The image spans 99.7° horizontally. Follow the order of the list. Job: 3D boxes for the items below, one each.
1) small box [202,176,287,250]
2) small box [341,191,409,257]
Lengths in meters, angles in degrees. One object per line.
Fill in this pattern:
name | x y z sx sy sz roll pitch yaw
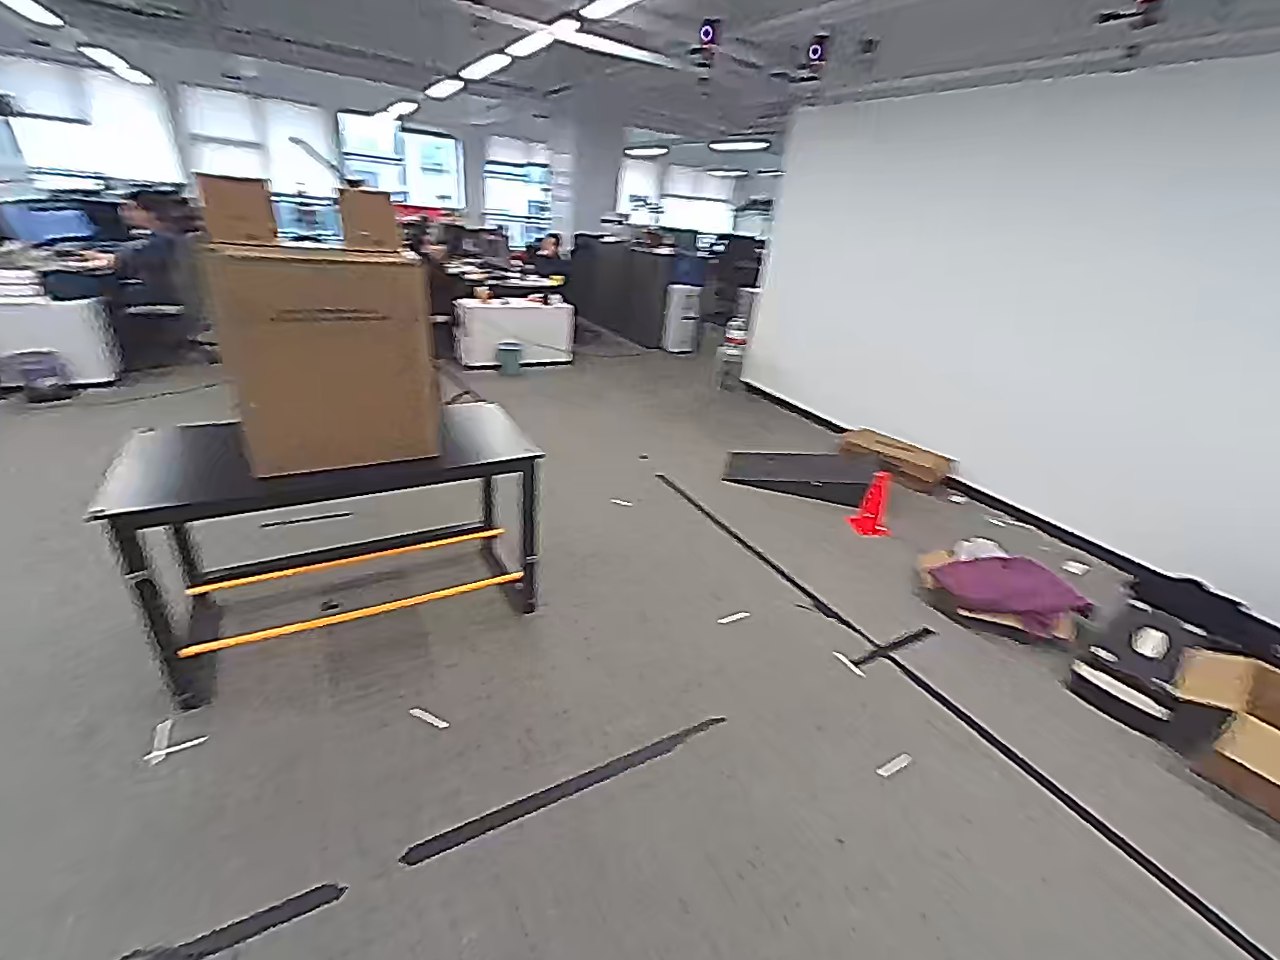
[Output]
small box | -1.107 -0.747 1.519 0.168 0.176 0.179 -11 31 -33
small box | -0.821 -0.792 1.672 0.168 0.176 0.179 -11 30 -26
